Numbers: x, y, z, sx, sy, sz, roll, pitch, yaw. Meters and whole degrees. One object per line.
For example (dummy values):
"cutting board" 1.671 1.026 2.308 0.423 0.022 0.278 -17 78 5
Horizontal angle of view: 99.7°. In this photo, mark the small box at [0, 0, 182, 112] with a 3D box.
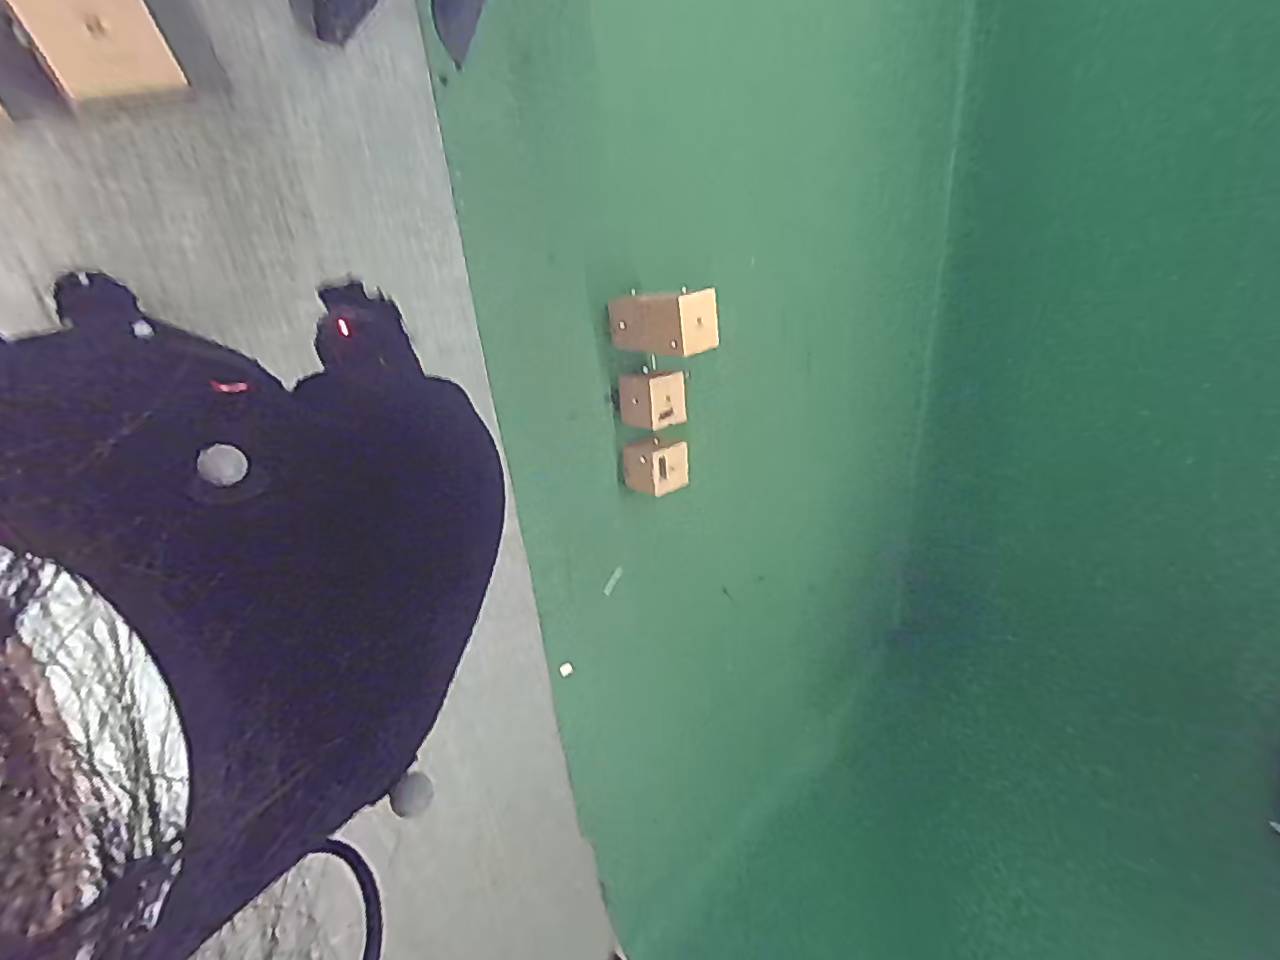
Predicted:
"small box" -0.904 -0.736 0.885 0.168 0.176 0.179 -35 125 -30

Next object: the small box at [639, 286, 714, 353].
"small box" 0.113 -0.506 1.703 0.168 0.176 0.179 -26 121 -35

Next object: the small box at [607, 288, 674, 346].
"small box" 0.003 -0.550 1.816 0.179 0.176 0.168 -24 120 -35
